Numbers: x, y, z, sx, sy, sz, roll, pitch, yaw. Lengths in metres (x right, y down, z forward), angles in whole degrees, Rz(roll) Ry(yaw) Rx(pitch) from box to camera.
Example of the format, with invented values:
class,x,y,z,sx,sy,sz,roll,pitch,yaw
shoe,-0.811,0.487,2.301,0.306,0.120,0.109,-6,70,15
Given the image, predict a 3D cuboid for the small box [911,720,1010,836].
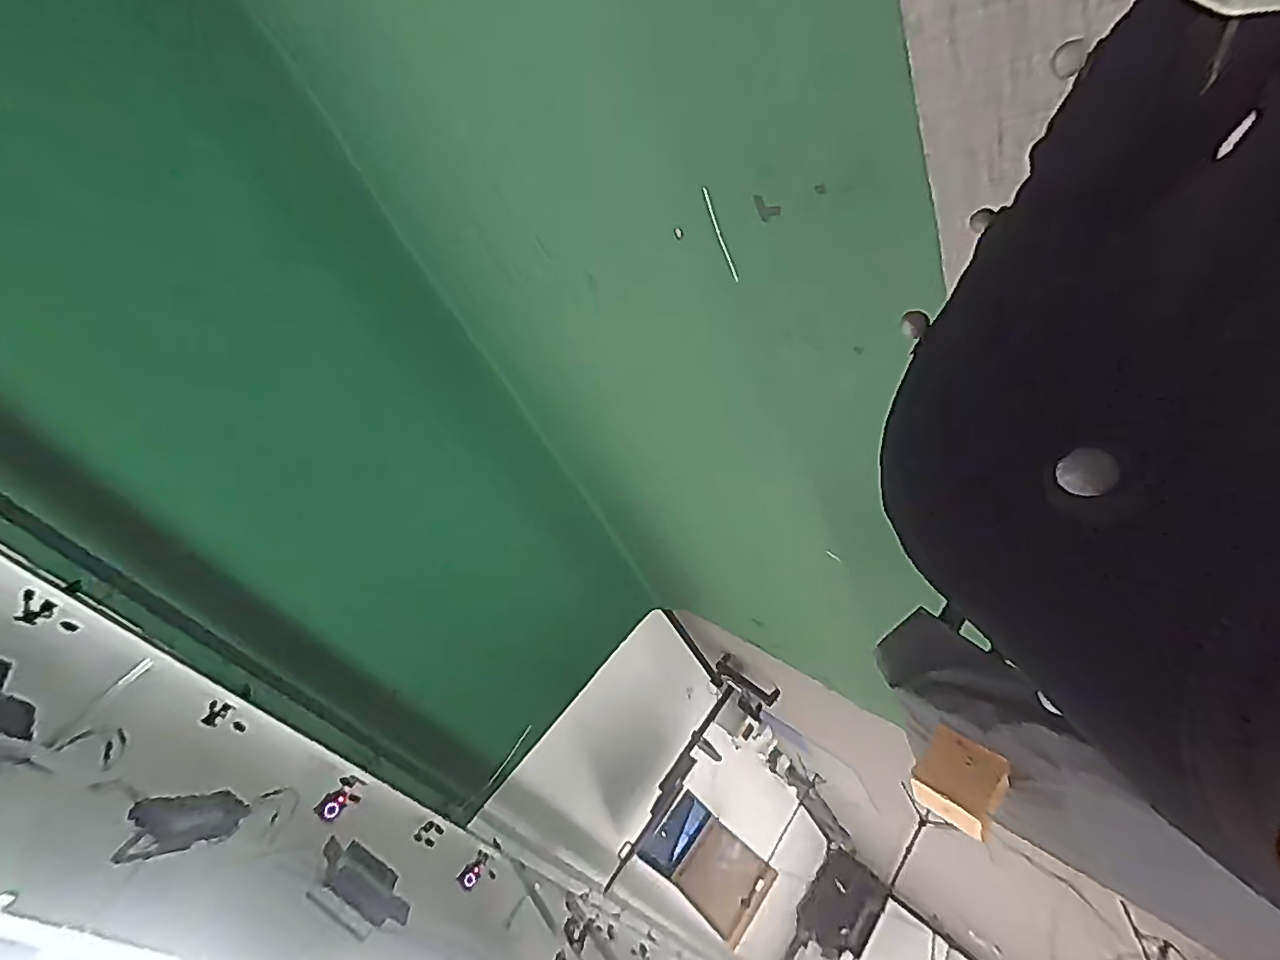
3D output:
class,x,y,z,sx,sy,sz,roll,pitch,yaw
small box,0.820,0.755,1.380,0.168,0.176,0.179,20,149,46
